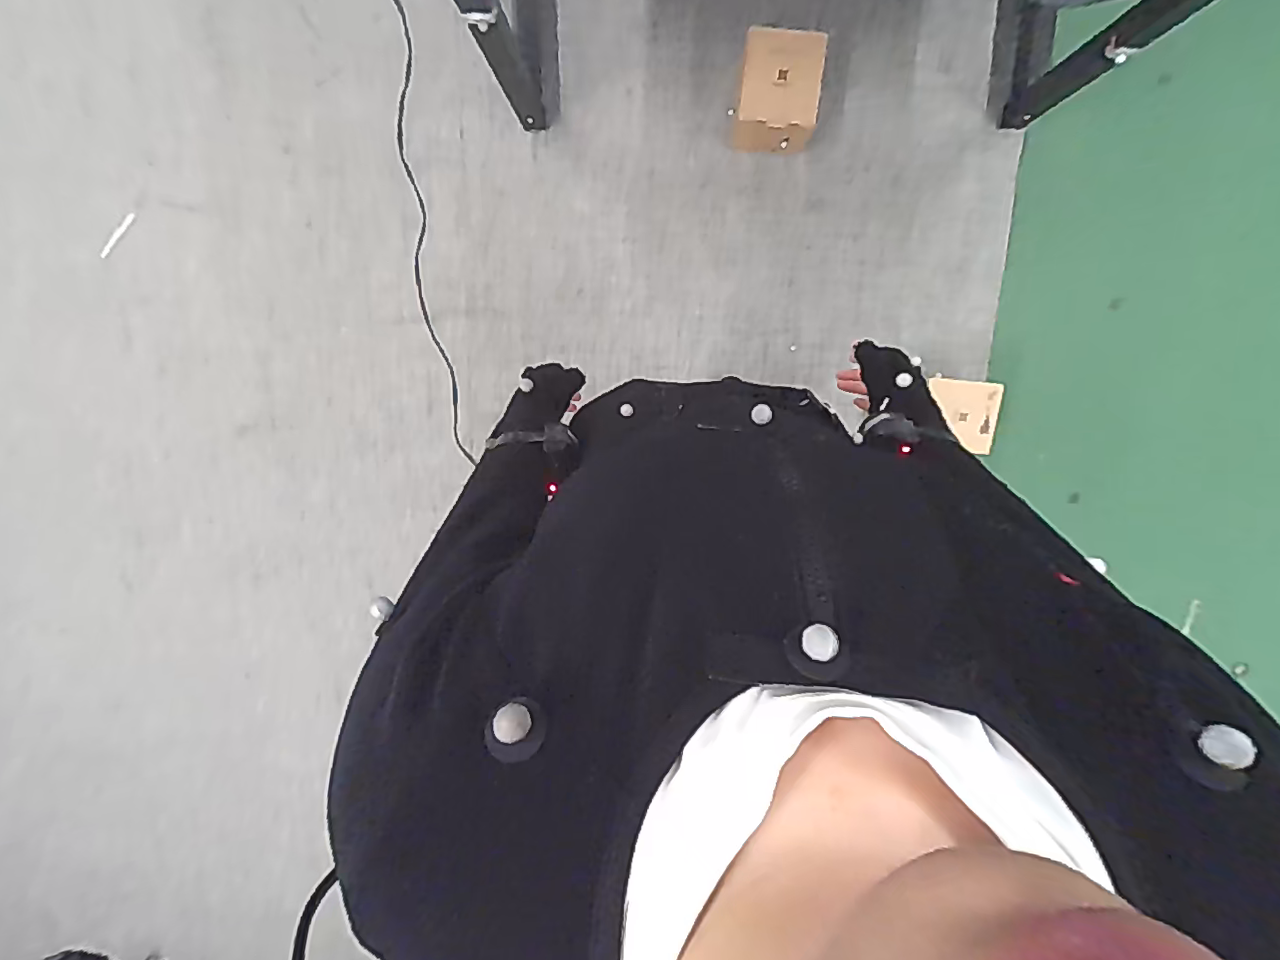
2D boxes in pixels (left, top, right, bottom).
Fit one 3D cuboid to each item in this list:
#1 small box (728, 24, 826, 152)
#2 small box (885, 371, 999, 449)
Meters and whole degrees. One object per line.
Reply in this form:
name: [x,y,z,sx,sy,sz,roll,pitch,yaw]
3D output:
small box: [0.294,-0.859,1.202,0.168,0.176,0.179,5,100,0]
small box: [0.734,-0.176,1.336,0.179,0.176,0.168,6,102,1]
